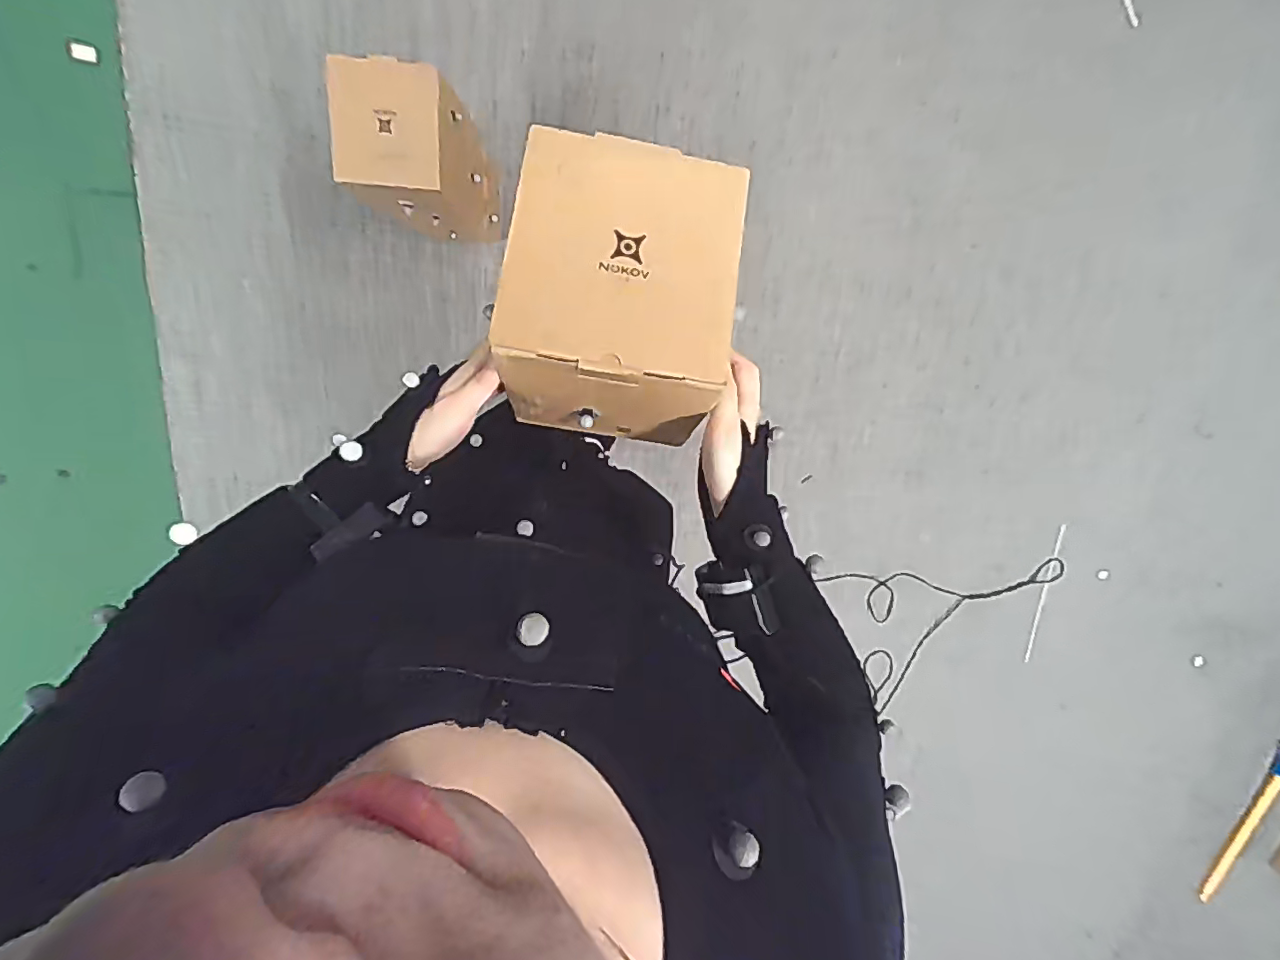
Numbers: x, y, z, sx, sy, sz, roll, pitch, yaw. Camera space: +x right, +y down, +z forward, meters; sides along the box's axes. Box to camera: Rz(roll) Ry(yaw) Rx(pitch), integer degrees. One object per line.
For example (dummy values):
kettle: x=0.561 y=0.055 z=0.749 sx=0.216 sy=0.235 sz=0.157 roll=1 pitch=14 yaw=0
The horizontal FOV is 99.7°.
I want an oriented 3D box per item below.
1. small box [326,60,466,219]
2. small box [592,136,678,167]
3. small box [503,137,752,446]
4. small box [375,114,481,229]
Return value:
small box: x=-0.394 y=-0.552 z=0.900 sx=0.168 sy=0.176 sz=0.179 roll=2 pitch=105 yaw=-4
small box: x=-0.028 y=-0.559 z=1.101 sx=0.168 sy=0.176 sz=0.179 roll=8 pitch=104 yaw=-7
small box: x=-0.014 y=-0.141 z=0.465 sx=0.168 sy=0.176 sz=0.179 roll=8 pitch=79 yaw=-6
small box: x=-0.410 y=-0.598 z=1.056 sx=0.168 sy=0.176 sz=0.179 roll=1 pitch=105 yaw=-5
